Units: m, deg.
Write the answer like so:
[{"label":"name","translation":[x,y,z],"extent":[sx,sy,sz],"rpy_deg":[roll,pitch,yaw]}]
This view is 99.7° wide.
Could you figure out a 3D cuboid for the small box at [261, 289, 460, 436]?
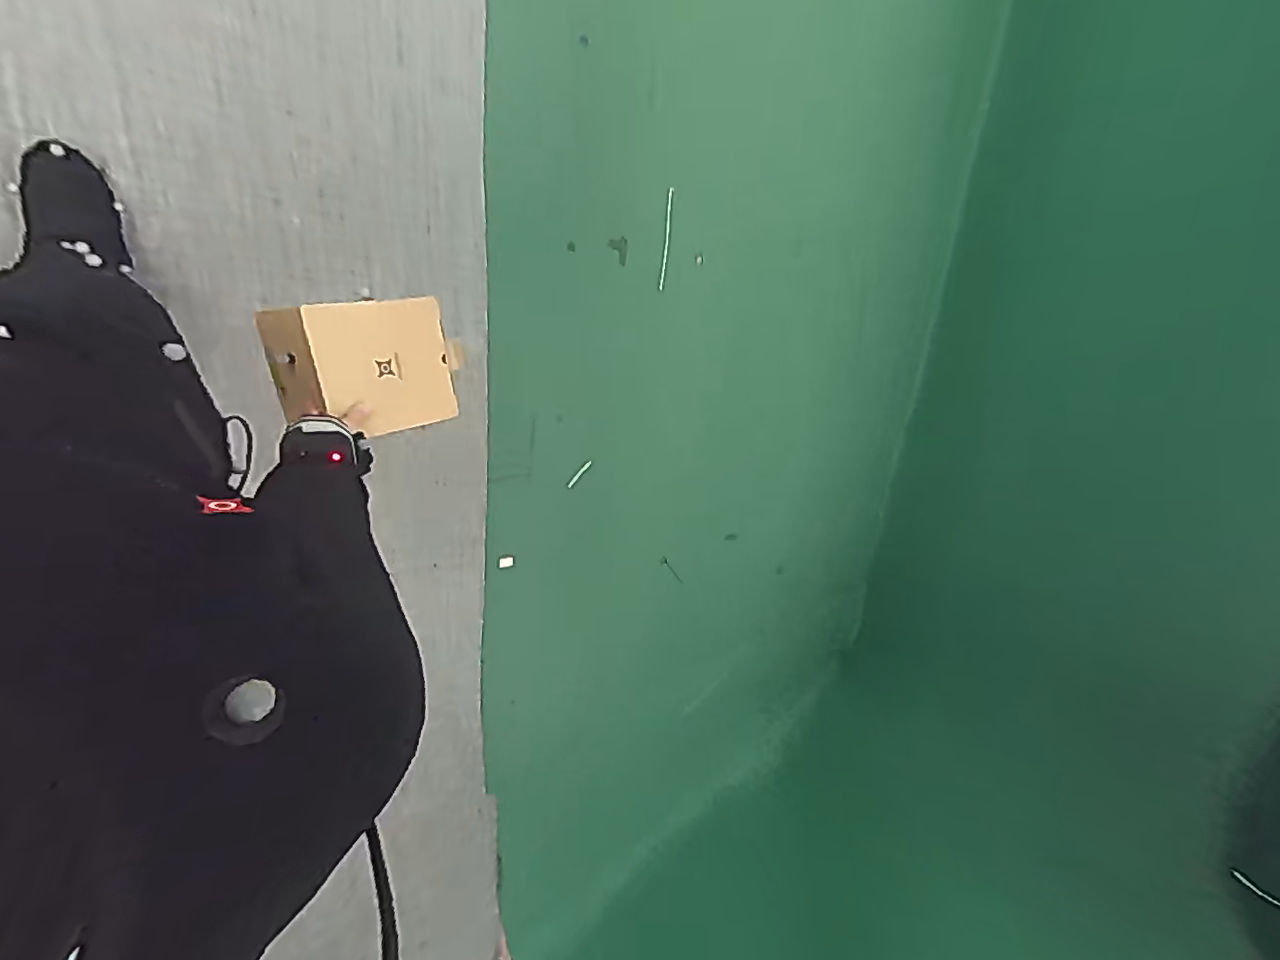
[{"label":"small box","translation":[-0.379,-0.162,0.732],"extent":[0.179,0.176,0.168],"rpy_deg":[-27,118,-46]}]
